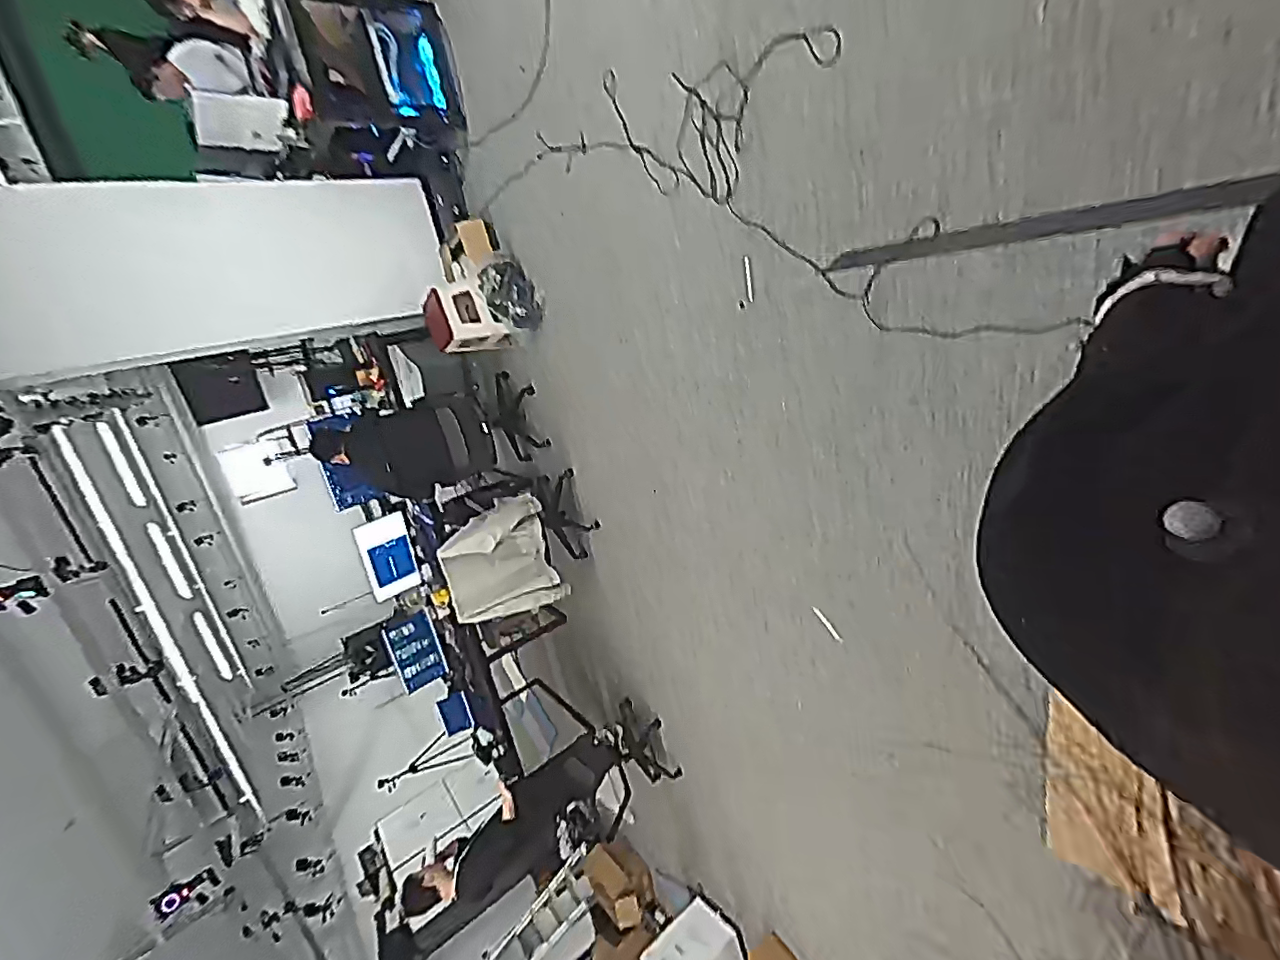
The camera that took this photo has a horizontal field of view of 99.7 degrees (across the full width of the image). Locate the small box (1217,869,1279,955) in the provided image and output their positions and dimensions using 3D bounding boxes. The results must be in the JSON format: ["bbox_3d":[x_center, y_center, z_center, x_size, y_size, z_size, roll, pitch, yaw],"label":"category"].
[{"bbox_3d":[1.276,0.938,1.071,0.168,0.176,0.179,6,115,54],"label":"small box"}]

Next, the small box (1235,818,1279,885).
[{"bbox_3d":[1.402,0.881,1.158,0.168,0.176,0.179,9,116,53],"label":"small box"}]

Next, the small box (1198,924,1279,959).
[{"bbox_3d":[1.141,0.989,0.991,0.168,0.176,0.179,6,114,54],"label":"small box"}]
